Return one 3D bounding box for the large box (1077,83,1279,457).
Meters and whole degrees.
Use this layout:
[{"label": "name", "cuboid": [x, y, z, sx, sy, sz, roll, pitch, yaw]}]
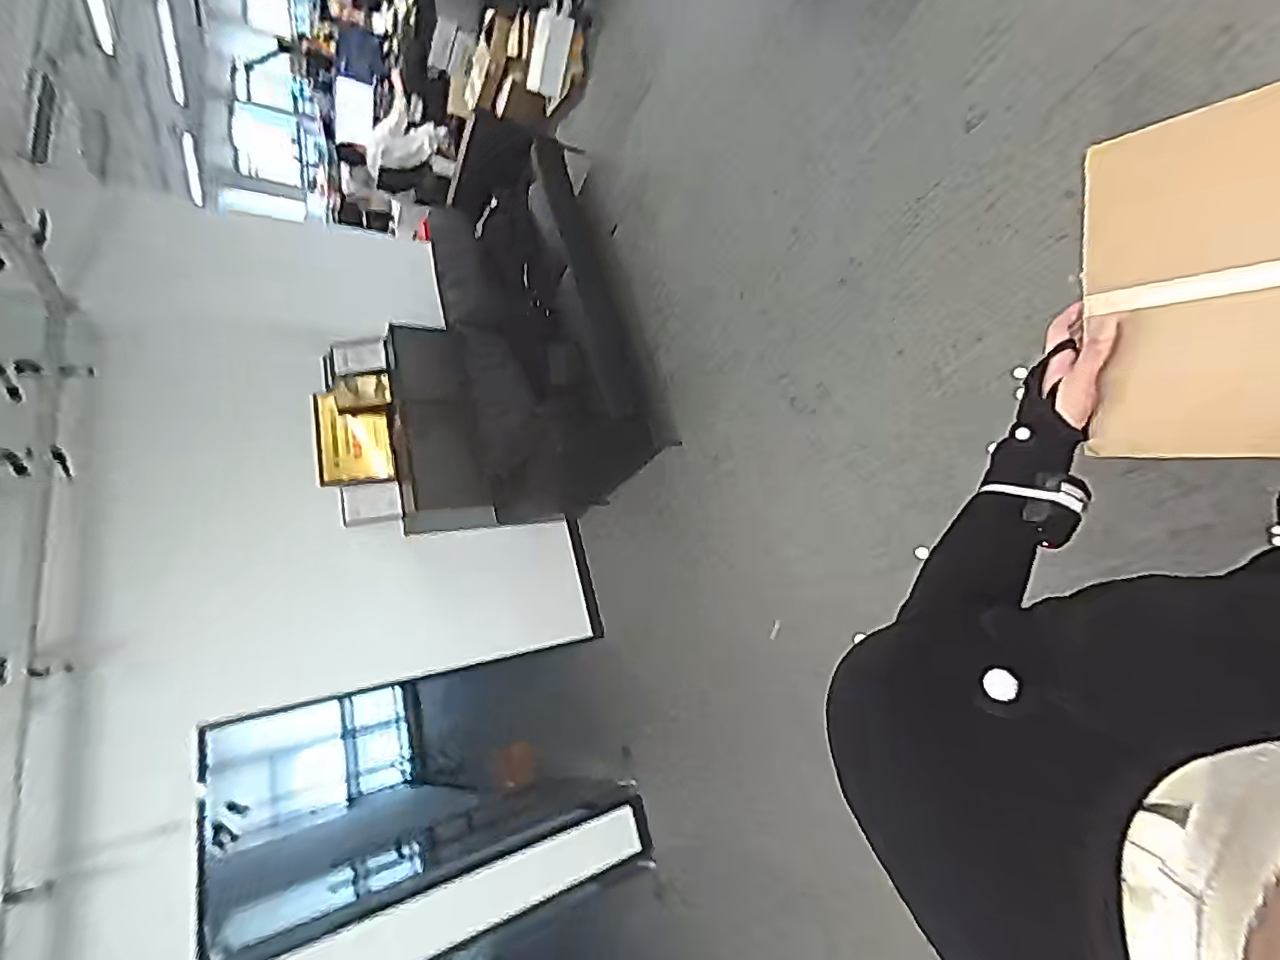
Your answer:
[{"label": "large box", "cuboid": [0.699, -0.189, 0.508, 0.408, 0.320, 0.320, 0, 94, 50]}]
